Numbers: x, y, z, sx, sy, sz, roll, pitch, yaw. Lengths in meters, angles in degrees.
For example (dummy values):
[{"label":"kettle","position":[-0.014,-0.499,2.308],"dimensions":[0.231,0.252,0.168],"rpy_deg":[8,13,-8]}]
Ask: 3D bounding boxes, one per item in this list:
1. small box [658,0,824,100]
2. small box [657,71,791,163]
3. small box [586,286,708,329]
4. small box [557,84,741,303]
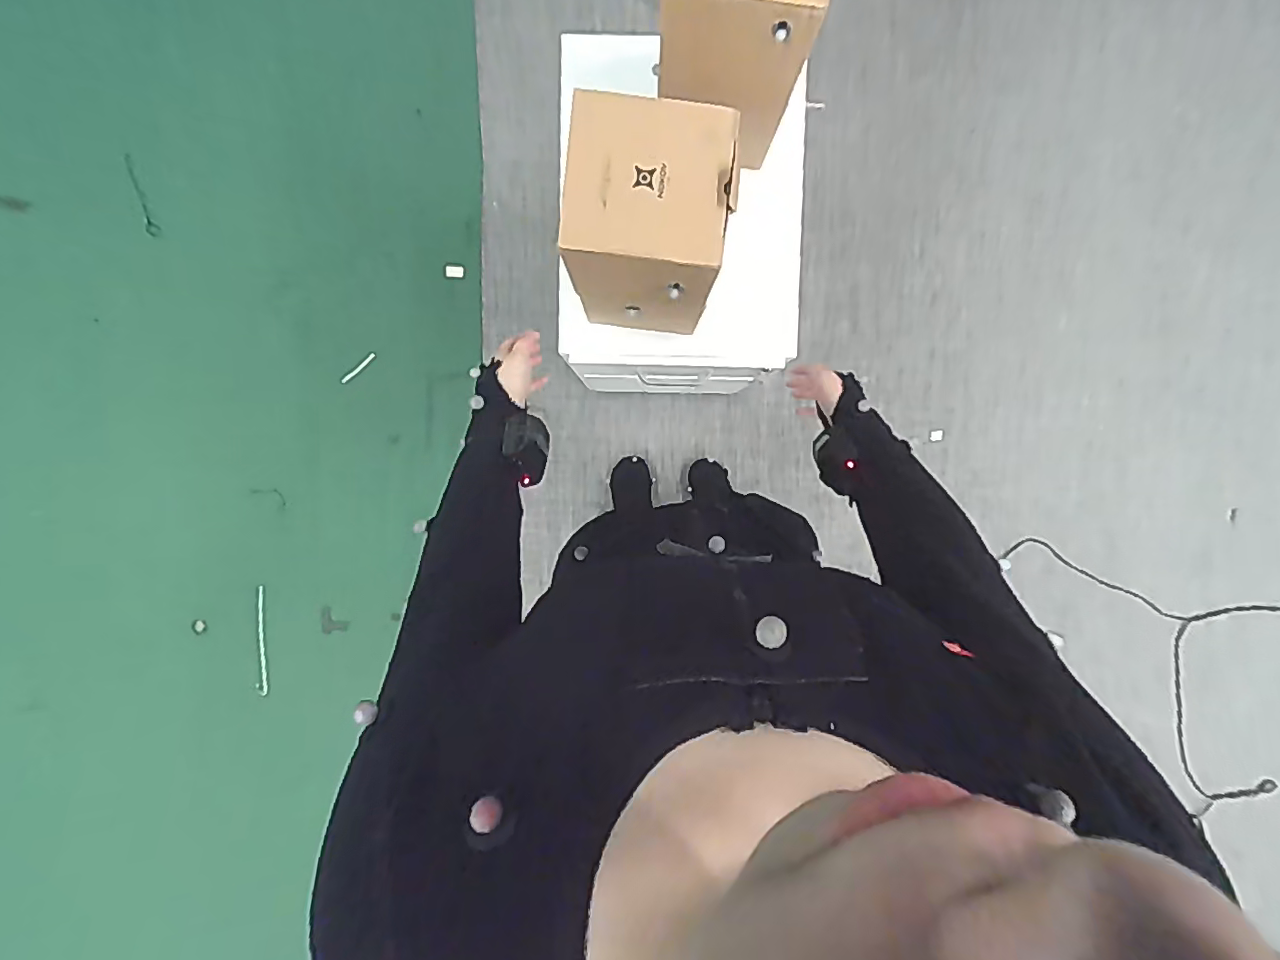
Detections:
[{"label":"small box","position":[0.116,-0.579,0.624],"dimensions":[0.179,0.176,0.168],"rpy_deg":[7,94,0]},{"label":"small box","position":[0.122,-0.592,0.786],"dimensions":[0.179,0.176,0.168],"rpy_deg":[8,94,0]},{"label":"small box","position":[0.012,-0.331,0.801],"dimensions":[0.179,0.176,0.168],"rpy_deg":[7,93,-1]},{"label":"small box","position":[0.009,-0.319,0.639],"dimensions":[0.179,0.176,0.168],"rpy_deg":[6,92,0]}]
